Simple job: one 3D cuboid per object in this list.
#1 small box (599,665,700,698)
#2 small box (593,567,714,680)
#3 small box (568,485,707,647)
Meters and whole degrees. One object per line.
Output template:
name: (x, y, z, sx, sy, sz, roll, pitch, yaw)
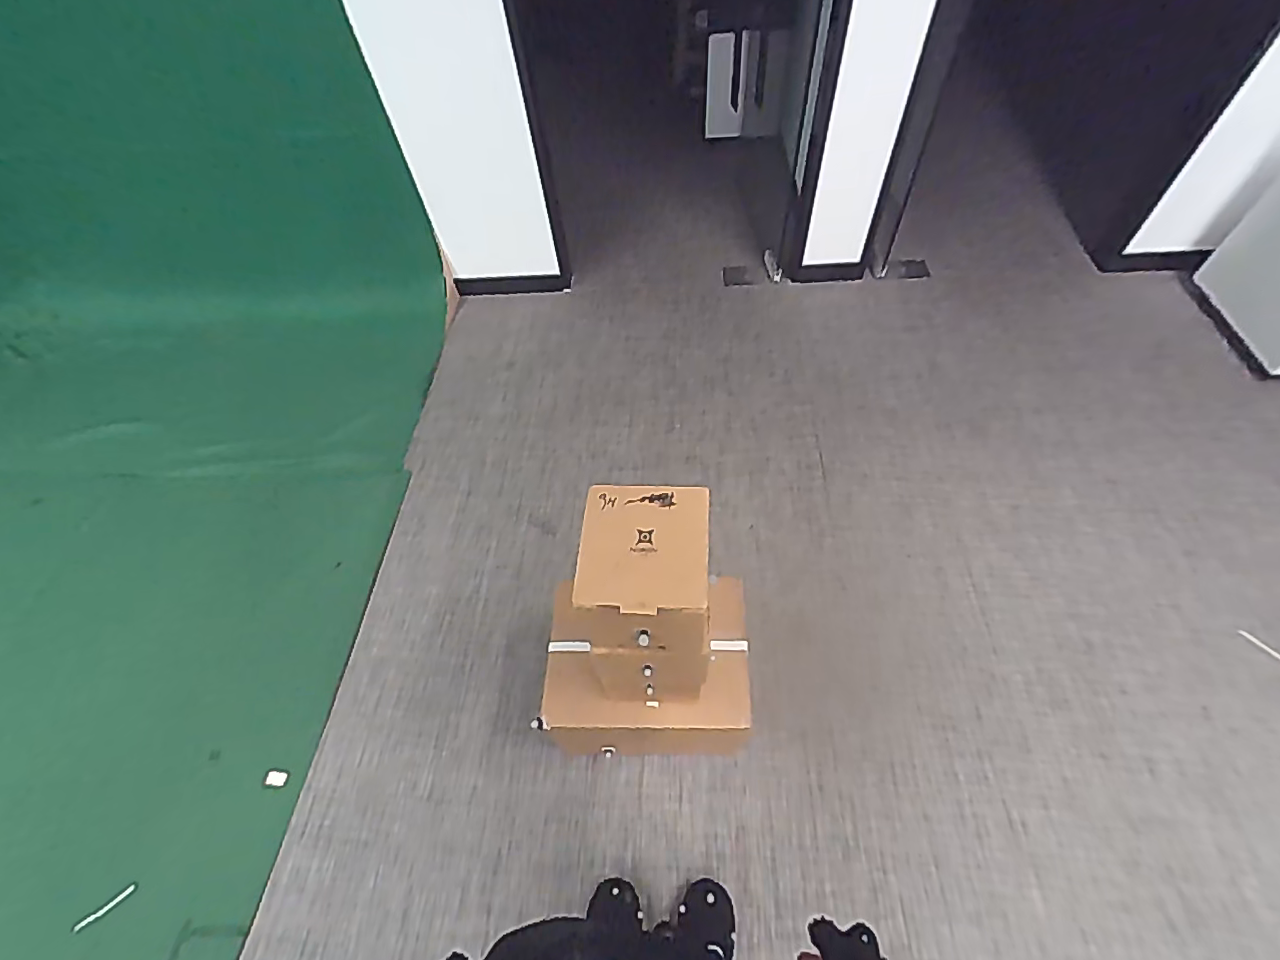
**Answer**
small box: (0.025, 0.309, 1.025, 0.179, 0.176, 0.168, 1, 57, 4)
small box: (0.021, 0.223, 0.885, 0.179, 0.176, 0.168, -3, 57, 2)
small box: (0.008, 0.124, 0.755, 0.168, 0.176, 0.179, 2, 57, 7)
